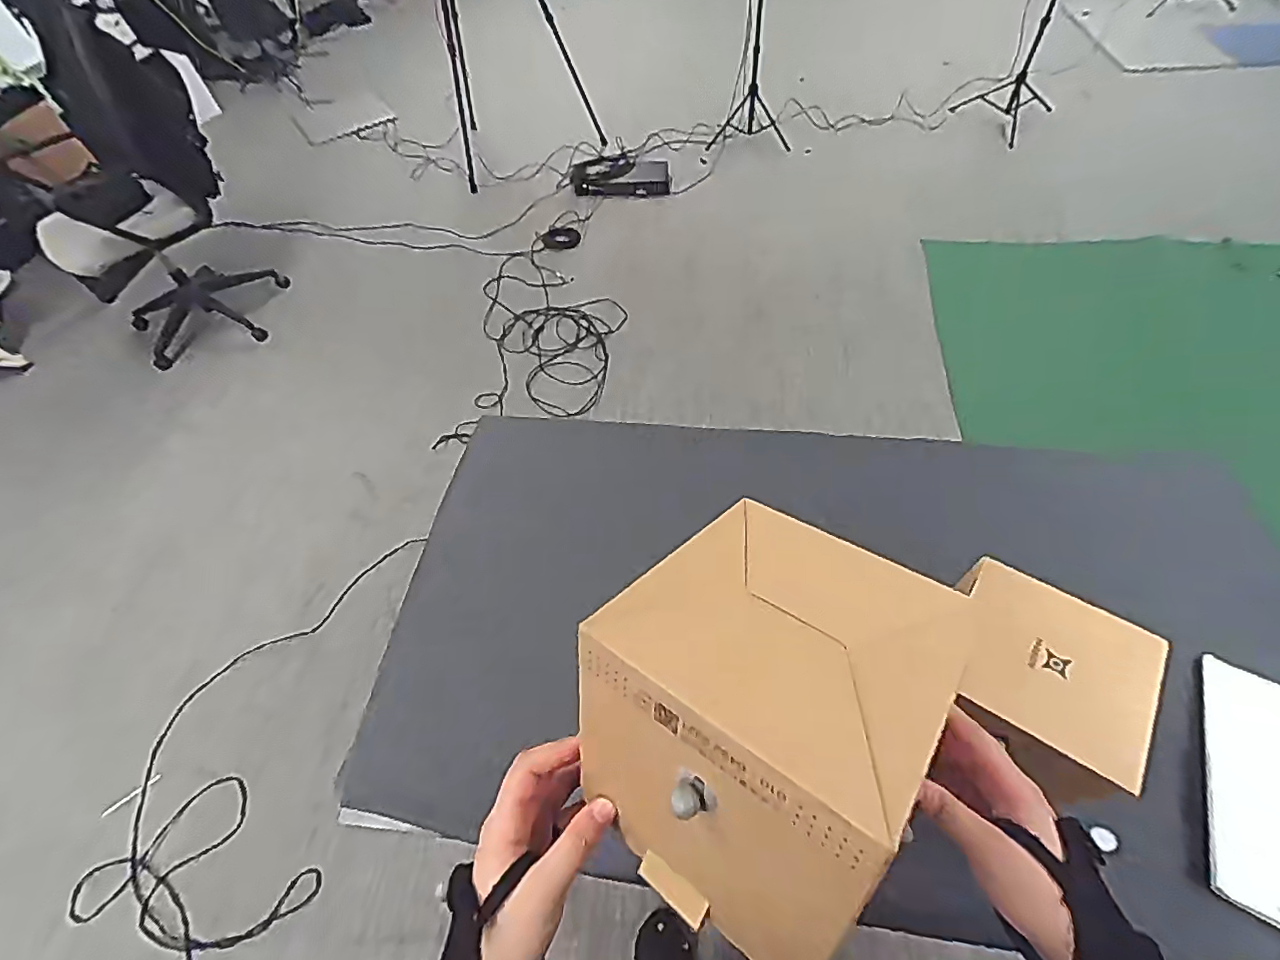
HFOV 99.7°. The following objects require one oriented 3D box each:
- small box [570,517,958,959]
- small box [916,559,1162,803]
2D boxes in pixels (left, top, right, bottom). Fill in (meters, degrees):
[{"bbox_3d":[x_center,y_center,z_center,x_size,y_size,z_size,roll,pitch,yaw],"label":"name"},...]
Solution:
[{"bbox_3d":[0.073,0.143,0.341,0.168,0.176,0.179,24,37,33],"label":"small box"},{"bbox_3d":[0.402,0.224,0.594,0.179,0.176,0.168,28,62,24],"label":"small box"}]
